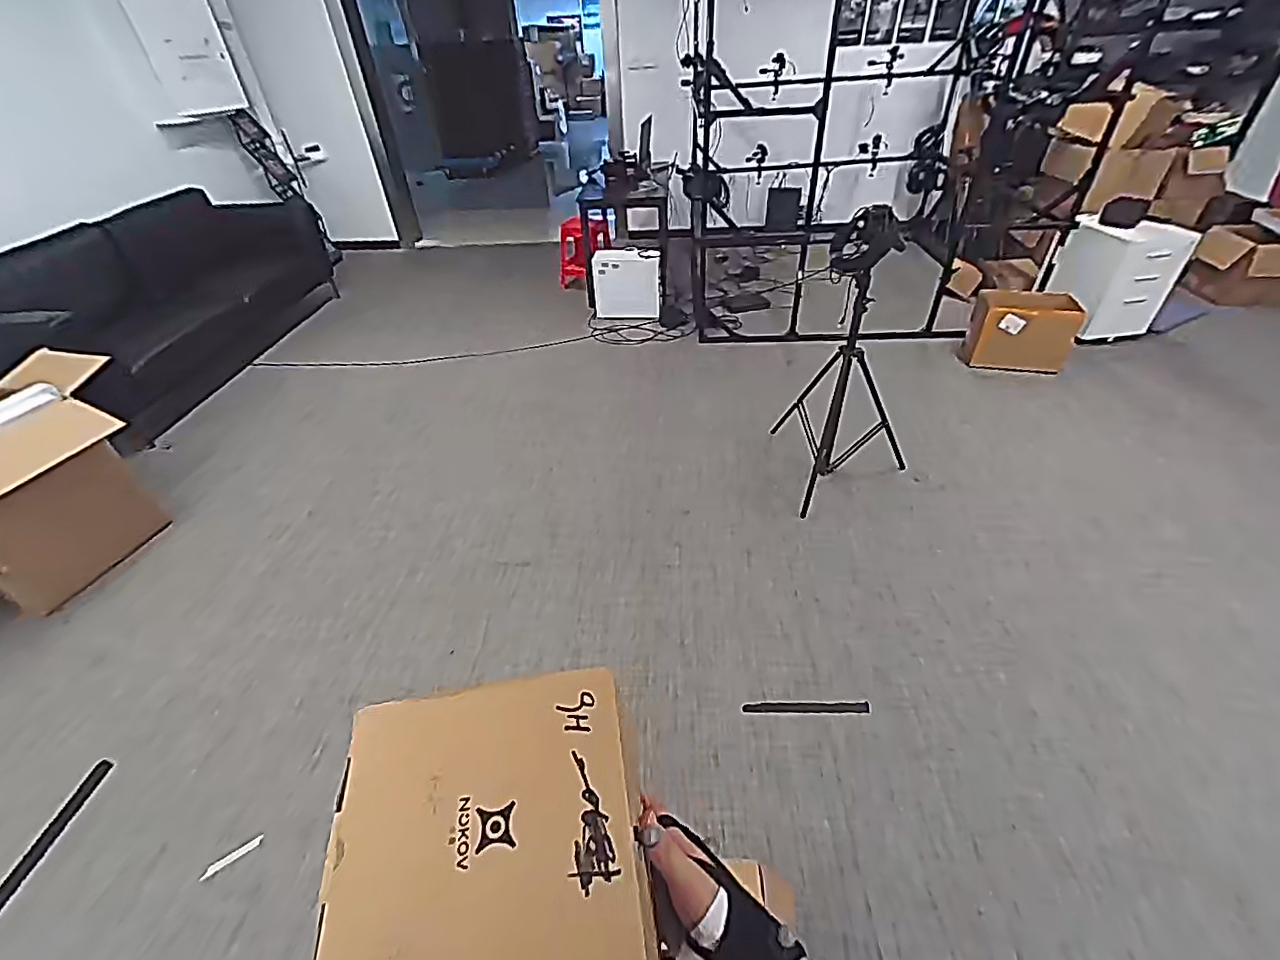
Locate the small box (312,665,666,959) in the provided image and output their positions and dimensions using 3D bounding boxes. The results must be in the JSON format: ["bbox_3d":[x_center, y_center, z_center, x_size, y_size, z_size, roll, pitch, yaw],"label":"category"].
[{"bbox_3d":[-0.083,0.248,0.370,0.179,0.176,0.168,-9,52,-2],"label":"small box"}]
